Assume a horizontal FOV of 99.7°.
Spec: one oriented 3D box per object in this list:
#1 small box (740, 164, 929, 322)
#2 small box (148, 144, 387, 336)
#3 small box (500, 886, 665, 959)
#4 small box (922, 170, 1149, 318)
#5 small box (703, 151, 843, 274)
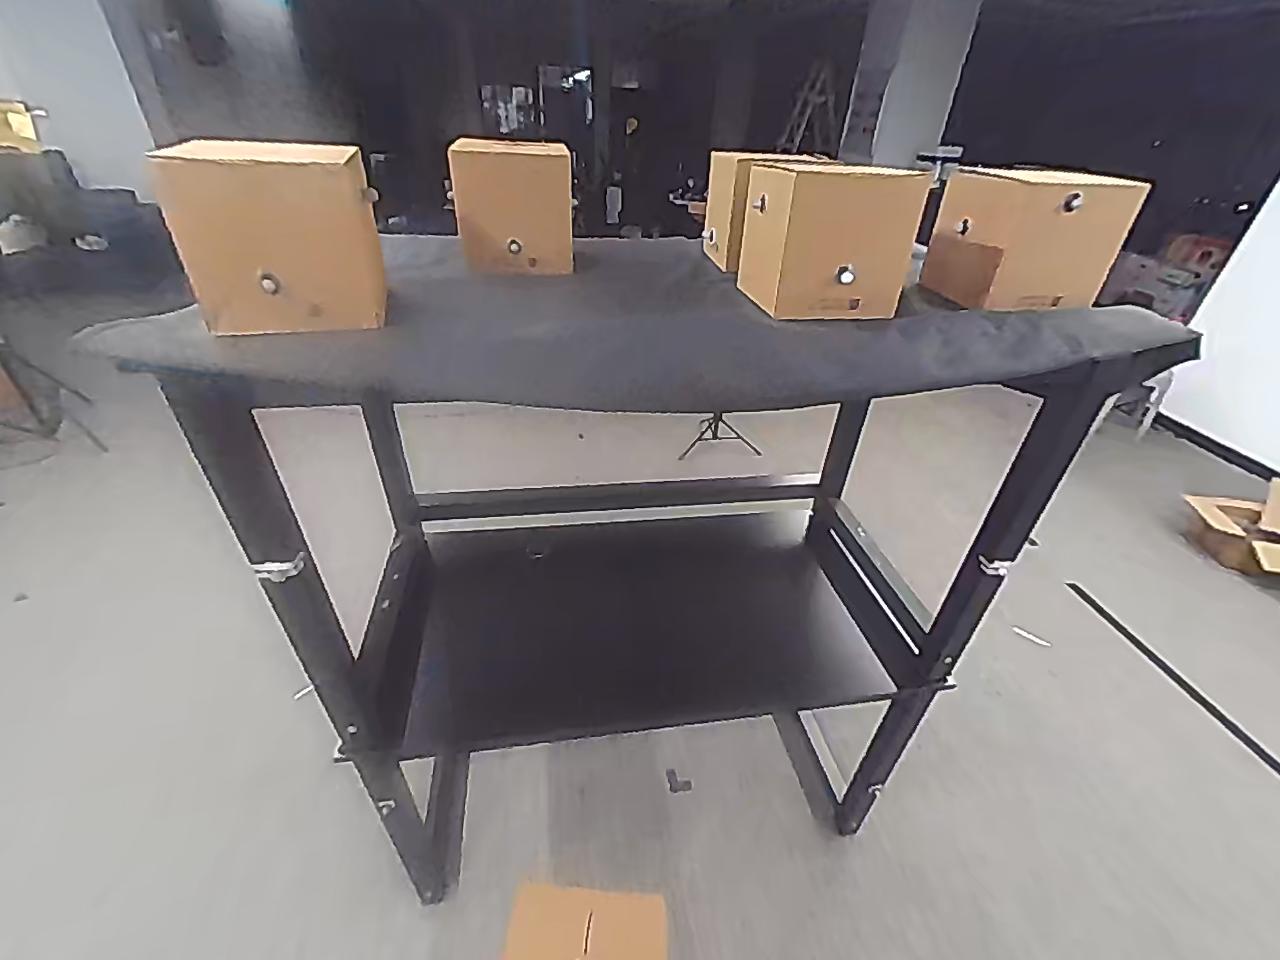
[{"bbox_3d":[0.240,-0.320,0.724,0.168,0.176,0.179,-3,33,-6],"label":"small box"},{"bbox_3d":[-0.394,-0.273,0.614,0.168,0.176,0.179,-8,37,-17],"label":"small box"},{"bbox_3d":[-0.065,0.556,0.540,0.168,0.176,0.179,7,21,-2],"label":"small box"},{"bbox_3d":[0.544,-0.343,0.778,0.168,0.176,0.179,-2,34,-5],"label":"small box"},{"bbox_3d":[0.216,-0.459,0.931,0.179,0.176,0.168,-2,34,-7],"label":"small box"}]
